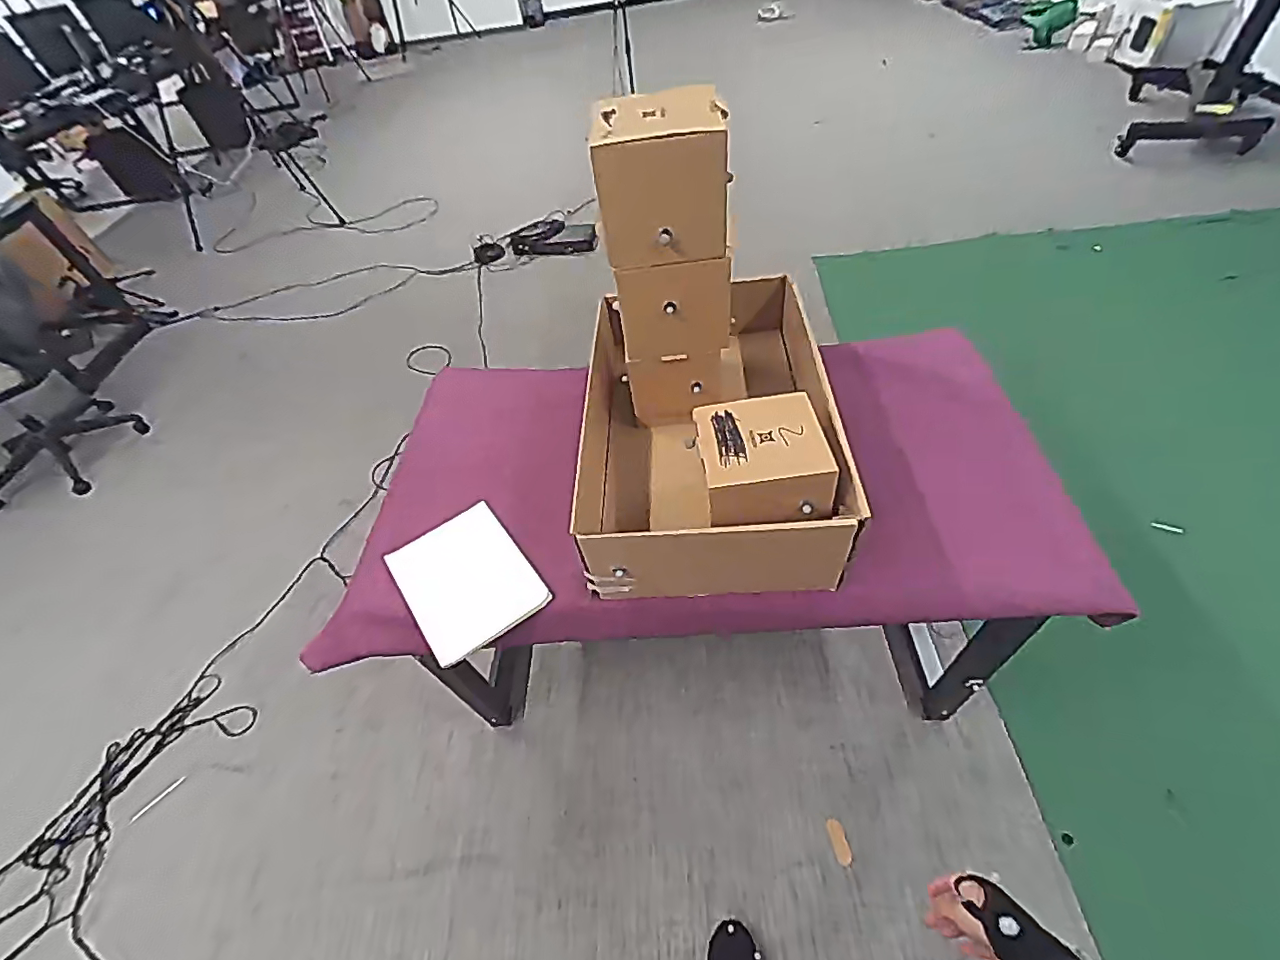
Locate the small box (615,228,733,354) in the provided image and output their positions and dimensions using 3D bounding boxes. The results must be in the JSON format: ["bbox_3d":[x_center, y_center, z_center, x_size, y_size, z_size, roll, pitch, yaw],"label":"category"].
[{"bbox_3d":[0.055,-0.331,0.900,0.179,0.176,0.168,-6,51,4],"label":"small box"}]

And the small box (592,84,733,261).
[{"bbox_3d":[0.034,-0.436,0.776,0.179,0.176,0.168,-3,51,4],"label":"small box"}]
